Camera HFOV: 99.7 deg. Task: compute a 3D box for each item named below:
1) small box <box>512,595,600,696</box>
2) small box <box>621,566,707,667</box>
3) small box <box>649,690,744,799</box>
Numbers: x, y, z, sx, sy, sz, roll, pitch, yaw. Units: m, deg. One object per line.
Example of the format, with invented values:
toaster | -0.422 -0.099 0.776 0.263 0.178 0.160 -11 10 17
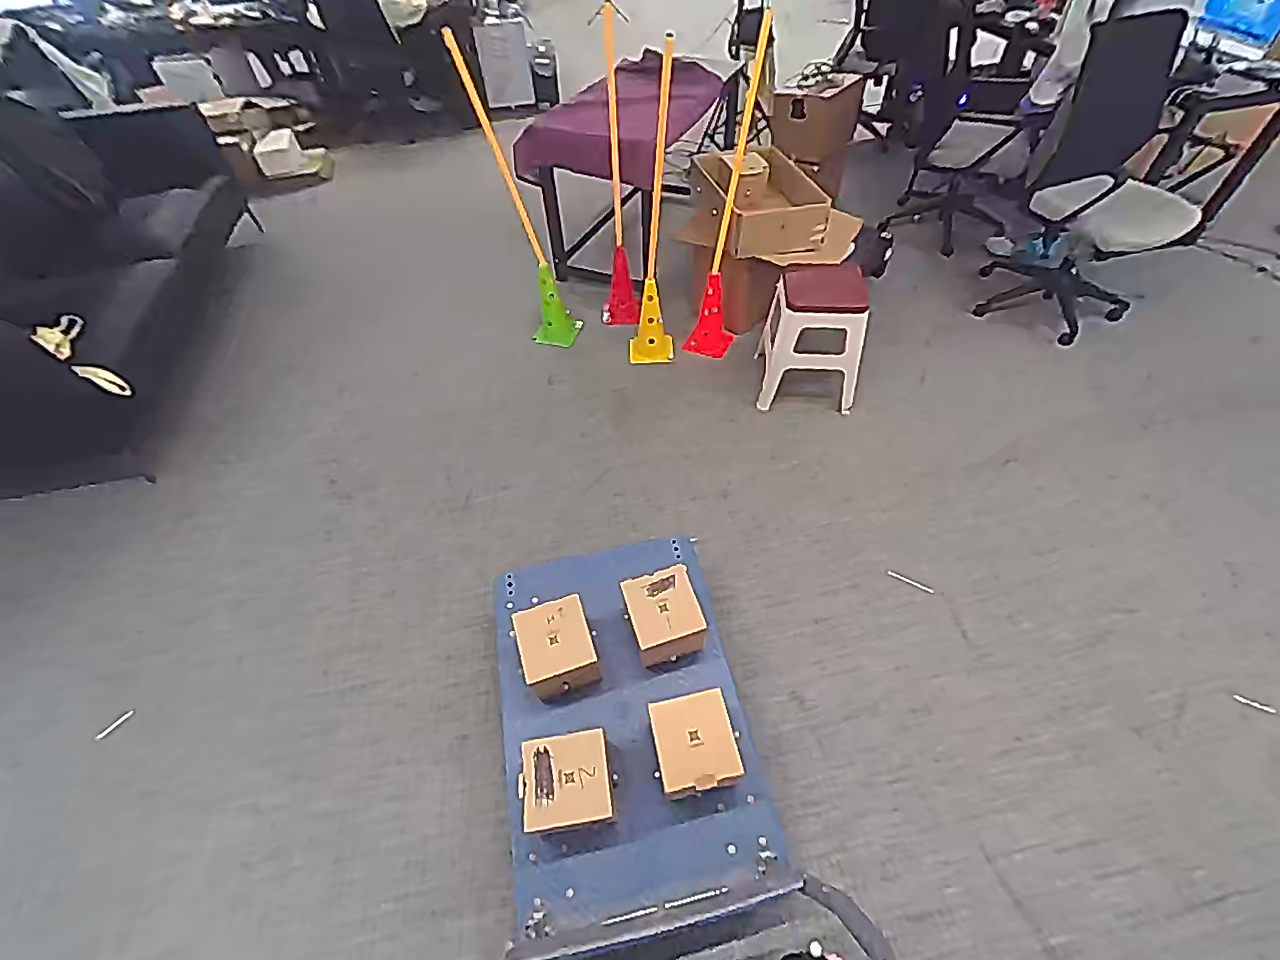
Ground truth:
small box | -0.200 0.411 1.318 0.168 0.176 0.179 -16 57 -10
small box | 0.055 0.345 1.355 0.168 0.176 0.179 -16 58 -8
small box | 0.115 0.587 1.195 0.168 0.176 0.179 -11 58 -6
